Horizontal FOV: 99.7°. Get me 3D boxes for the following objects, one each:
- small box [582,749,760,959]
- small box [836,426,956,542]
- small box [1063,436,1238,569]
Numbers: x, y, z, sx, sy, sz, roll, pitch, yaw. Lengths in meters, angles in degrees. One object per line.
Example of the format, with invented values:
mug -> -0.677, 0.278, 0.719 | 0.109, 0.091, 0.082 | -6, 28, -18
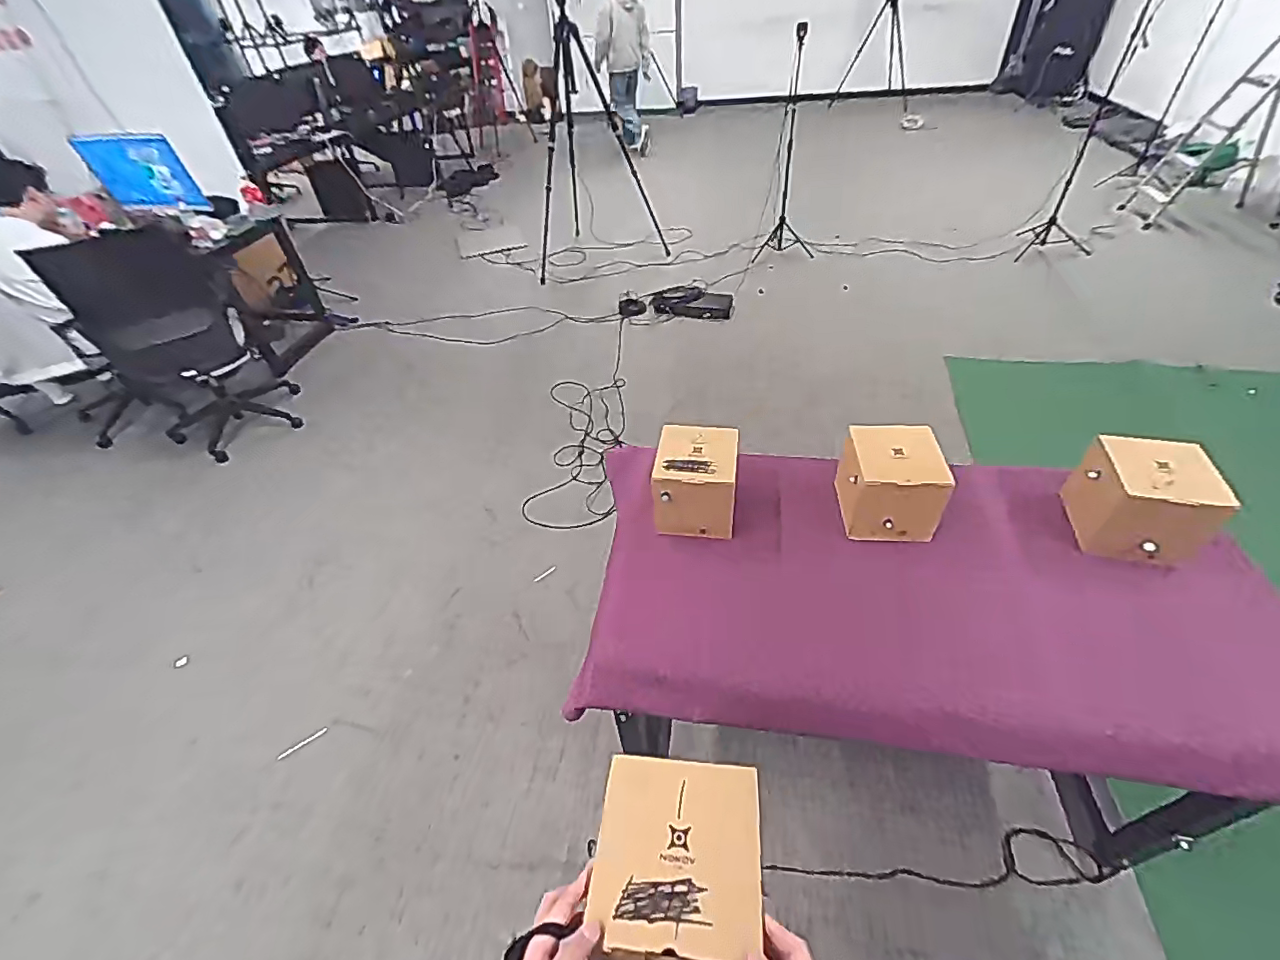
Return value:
small box -> 0.045, 0.429, 0.594 | 0.168, 0.176, 0.179 | 2, 37, 9
small box -> 0.518, 0.007, 1.125 | 0.168, 0.176, 0.179 | 1, 45, 6
small box -> 0.961, 0.042, 1.043 | 0.168, 0.176, 0.179 | 8, 46, 15
